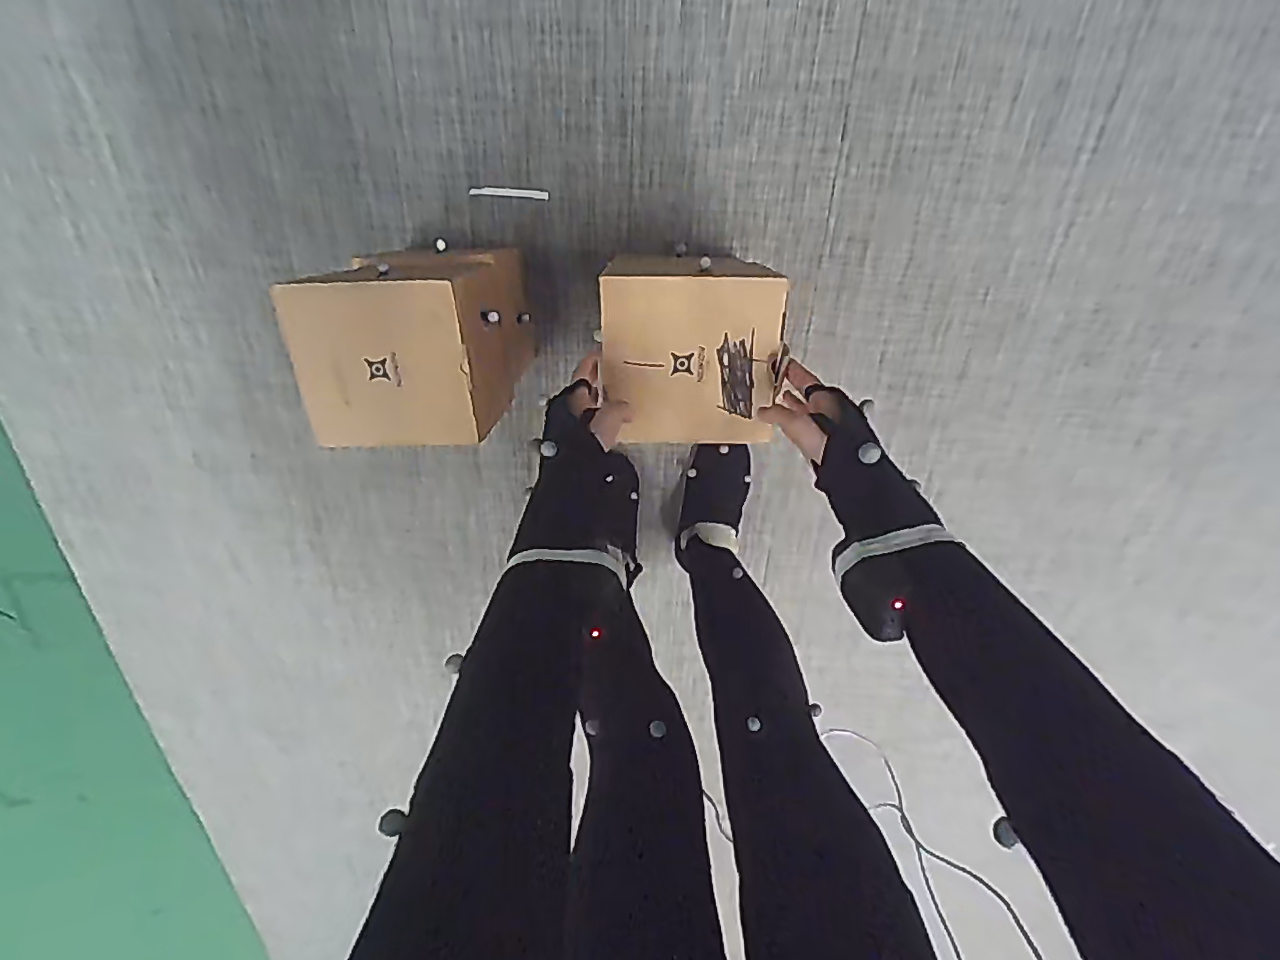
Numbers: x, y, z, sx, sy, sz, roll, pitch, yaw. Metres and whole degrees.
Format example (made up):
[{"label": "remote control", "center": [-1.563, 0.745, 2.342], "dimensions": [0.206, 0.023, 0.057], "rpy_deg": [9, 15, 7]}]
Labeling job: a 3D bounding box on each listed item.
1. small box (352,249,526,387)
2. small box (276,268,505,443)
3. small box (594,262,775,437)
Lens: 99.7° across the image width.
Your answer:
[{"label": "small box", "center": [-0.264, -0.232, 0.764], "dimensions": [0.179, 0.176, 0.168], "rpy_deg": [-1, 116, 1]}, {"label": "small box", "center": [-0.261, -0.150, 0.622], "dimensions": [0.179, 0.176, 0.168], "rpy_deg": [-1, 116, 1]}, {"label": "small box", "center": [0.042, -0.156, 0.617], "dimensions": [0.179, 0.176, 0.168], "rpy_deg": [1, 116, 1]}]
